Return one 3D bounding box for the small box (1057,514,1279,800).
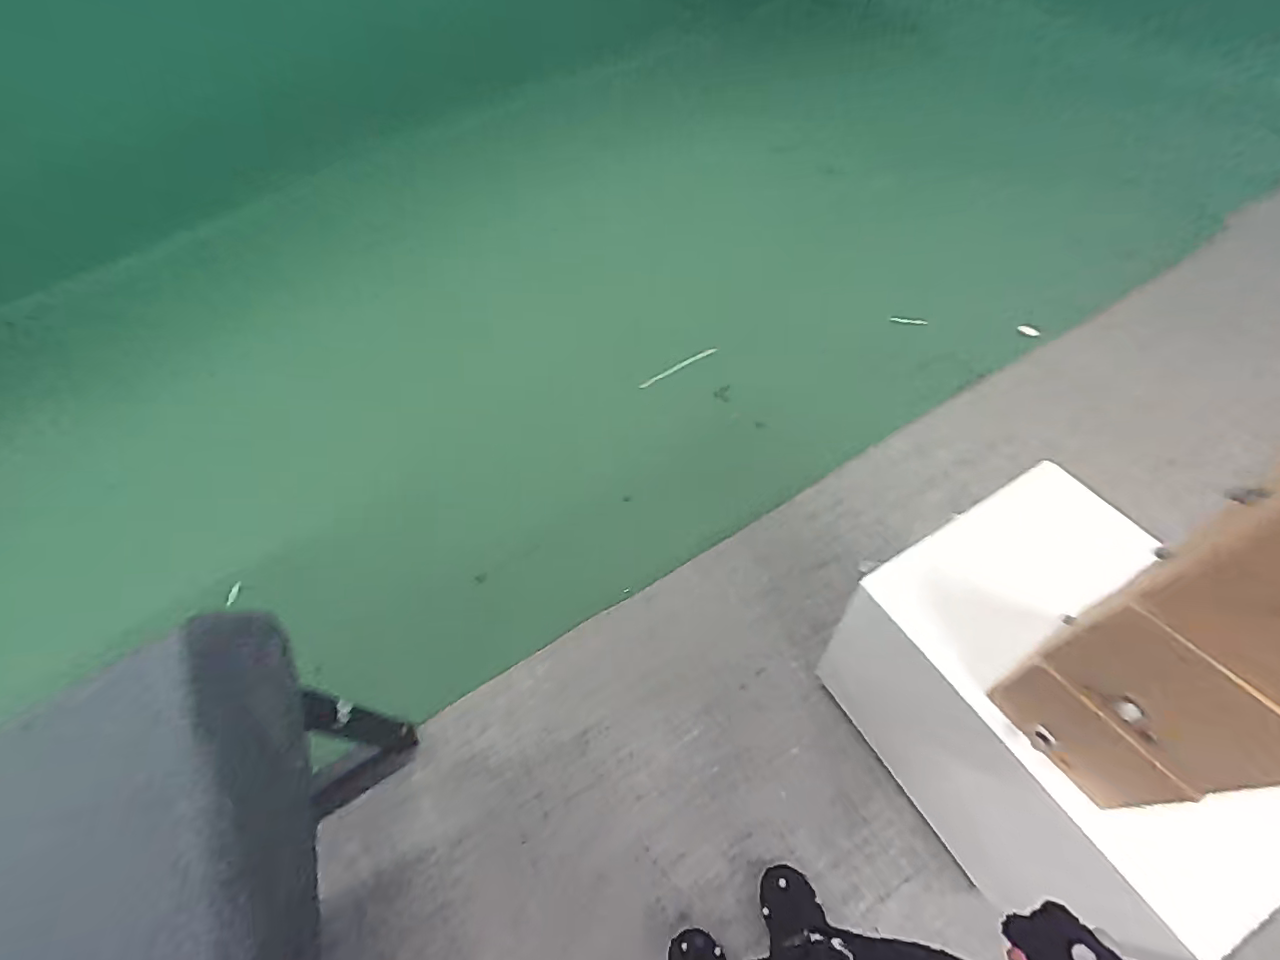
[{"bbox_3d":[0.536,0.156,0.490,0.179,0.176,0.168,-34,57,-14],"label":"small box"}]

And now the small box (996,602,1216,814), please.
[{"bbox_3d":[0.558,0.251,0.622,0.179,0.176,0.168,-34,56,-11],"label":"small box"}]

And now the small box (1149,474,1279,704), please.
[{"bbox_3d":[0.510,0.067,0.355,0.168,0.176,0.179,-34,56,-12],"label":"small box"}]
